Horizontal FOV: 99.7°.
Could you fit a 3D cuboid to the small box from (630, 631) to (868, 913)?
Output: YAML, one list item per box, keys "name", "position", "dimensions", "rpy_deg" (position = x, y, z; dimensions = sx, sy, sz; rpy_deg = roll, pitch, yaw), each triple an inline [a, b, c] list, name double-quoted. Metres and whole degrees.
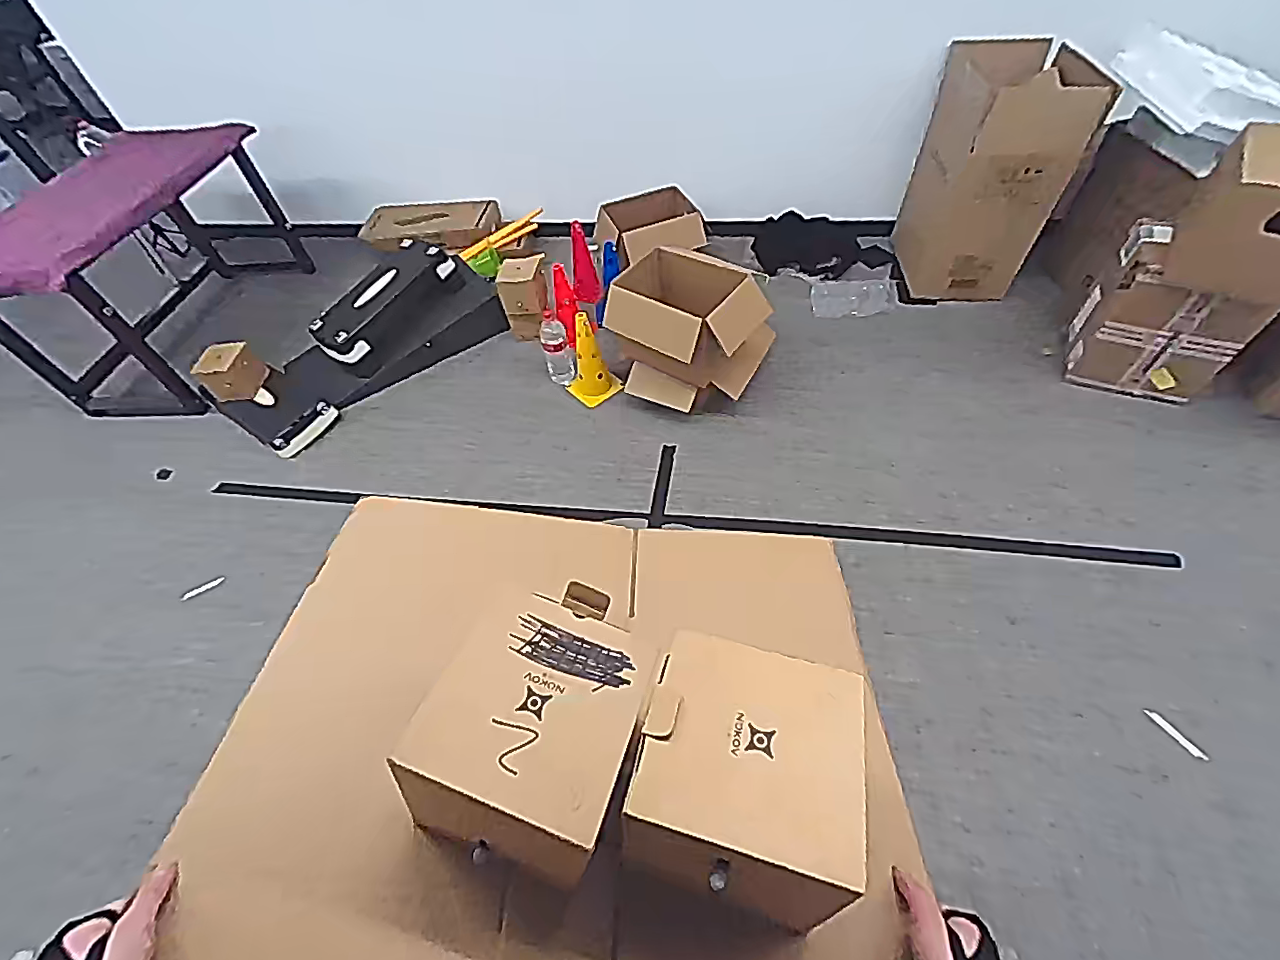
- name: "small box"
  position: [0.097, 0.273, 0.505]
  dimensions: [0.179, 0.176, 0.168]
  rpy_deg: [11, 45, 12]
